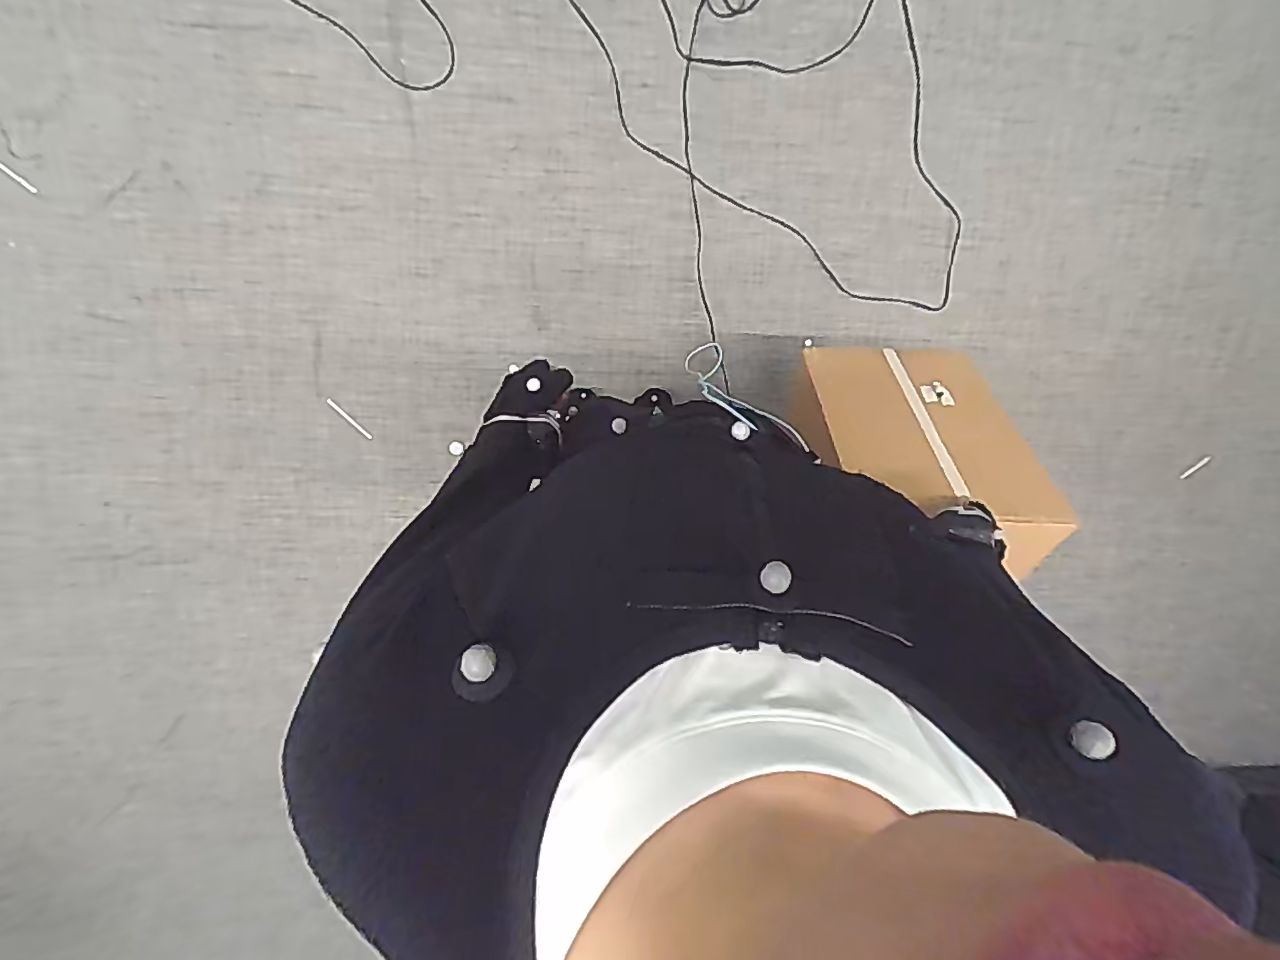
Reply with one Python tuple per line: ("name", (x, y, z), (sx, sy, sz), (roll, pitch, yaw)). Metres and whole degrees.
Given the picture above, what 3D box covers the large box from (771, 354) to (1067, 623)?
("large box", (0.451, 0.015, 1.001), (0.320, 0.408, 0.320), (1, 138, -1))
